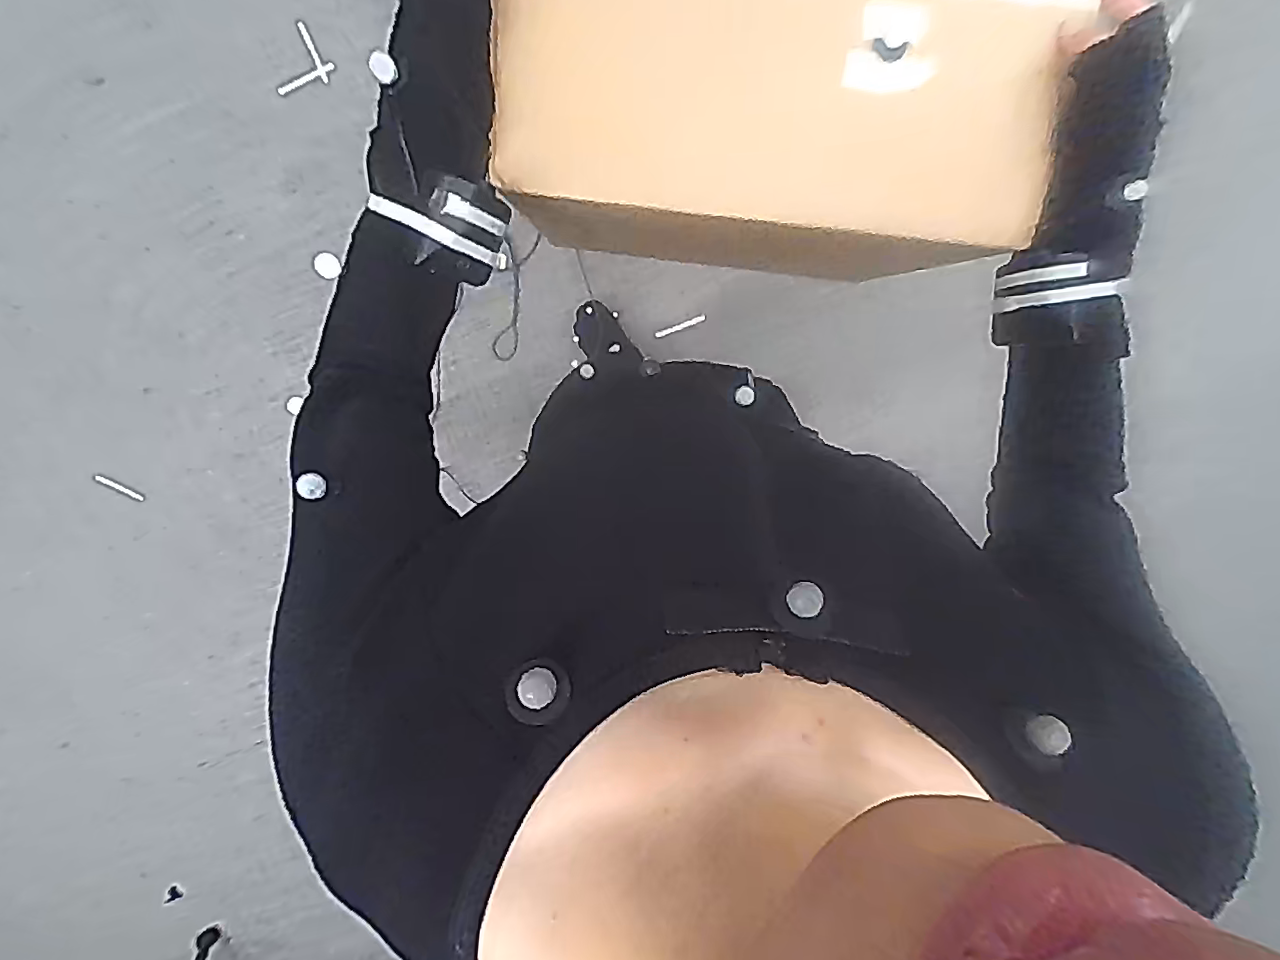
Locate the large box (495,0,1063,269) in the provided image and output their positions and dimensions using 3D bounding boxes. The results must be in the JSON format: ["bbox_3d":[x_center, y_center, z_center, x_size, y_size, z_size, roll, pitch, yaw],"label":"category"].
[{"bbox_3d":[0.095,-0.395,0.514,0.408,0.320,0.320,5,106,-3],"label":"large box"}]

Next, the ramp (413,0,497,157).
[{"bbox_3d":[-0.342,-1.308,1.141,0.509,0.206,0.991,-23,101,4],"label":"ramp"}]
